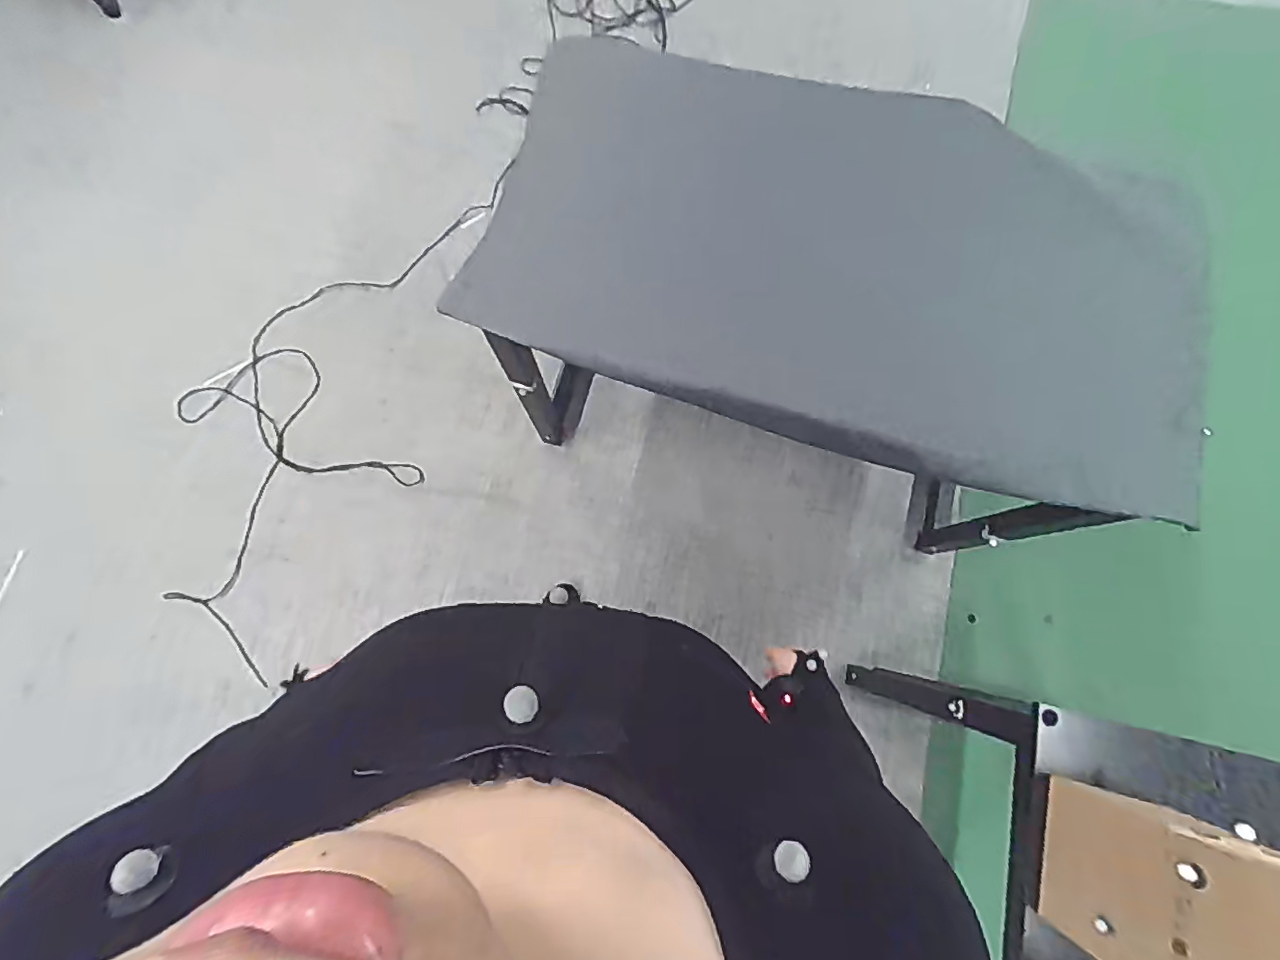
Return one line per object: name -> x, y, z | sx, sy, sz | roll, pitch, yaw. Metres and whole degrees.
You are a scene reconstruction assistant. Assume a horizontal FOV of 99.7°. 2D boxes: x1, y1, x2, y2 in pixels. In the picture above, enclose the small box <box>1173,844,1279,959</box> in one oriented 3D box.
small box -> 0.628, 0.457, 0.471 | 0.179, 0.176, 0.168 | 17, 79, 3
